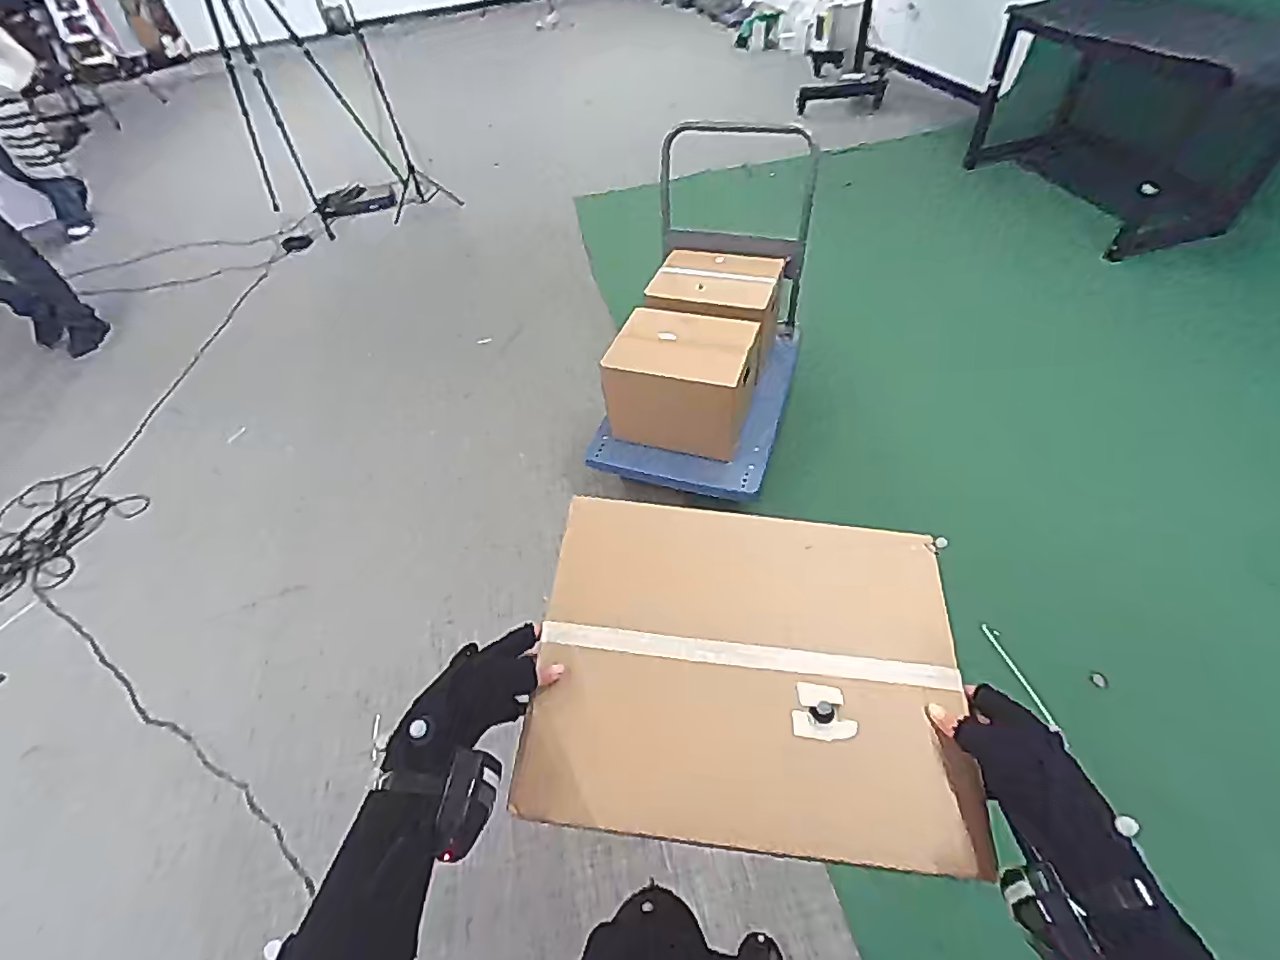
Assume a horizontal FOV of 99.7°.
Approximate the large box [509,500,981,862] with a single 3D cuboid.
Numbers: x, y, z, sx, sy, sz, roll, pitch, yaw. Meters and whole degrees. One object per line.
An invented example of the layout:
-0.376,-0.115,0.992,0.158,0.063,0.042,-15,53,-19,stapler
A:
0.092,0.249,0.653,0.408,0.320,0.320,7,57,2,large box
